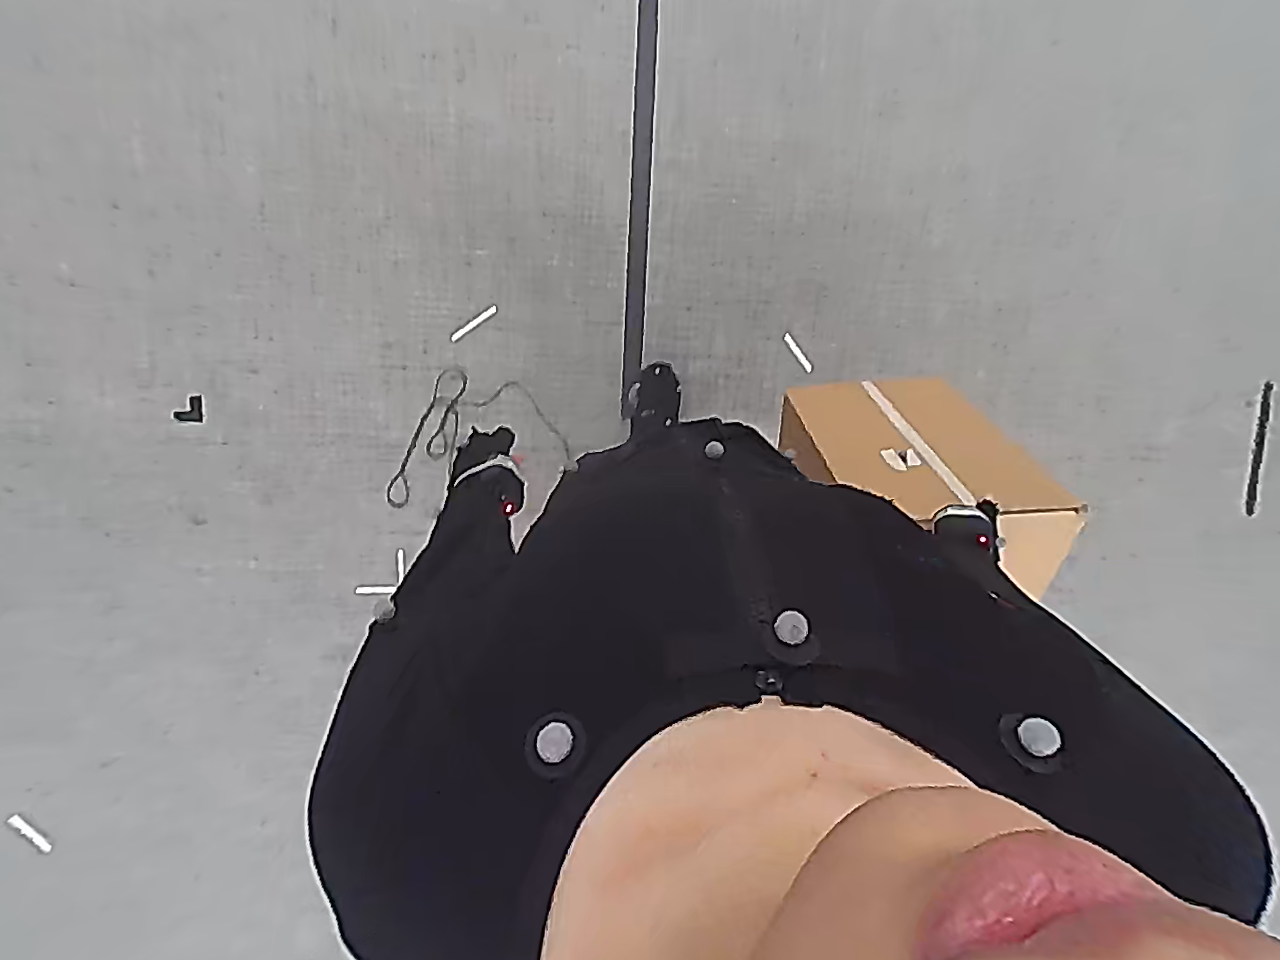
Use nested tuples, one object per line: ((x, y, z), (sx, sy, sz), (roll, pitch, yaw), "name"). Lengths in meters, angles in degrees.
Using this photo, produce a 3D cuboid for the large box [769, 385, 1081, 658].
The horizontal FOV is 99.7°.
((0.454, 0.059, 0.993), (0.320, 0.408, 0.320), (-5, 127, -1), "large box")
